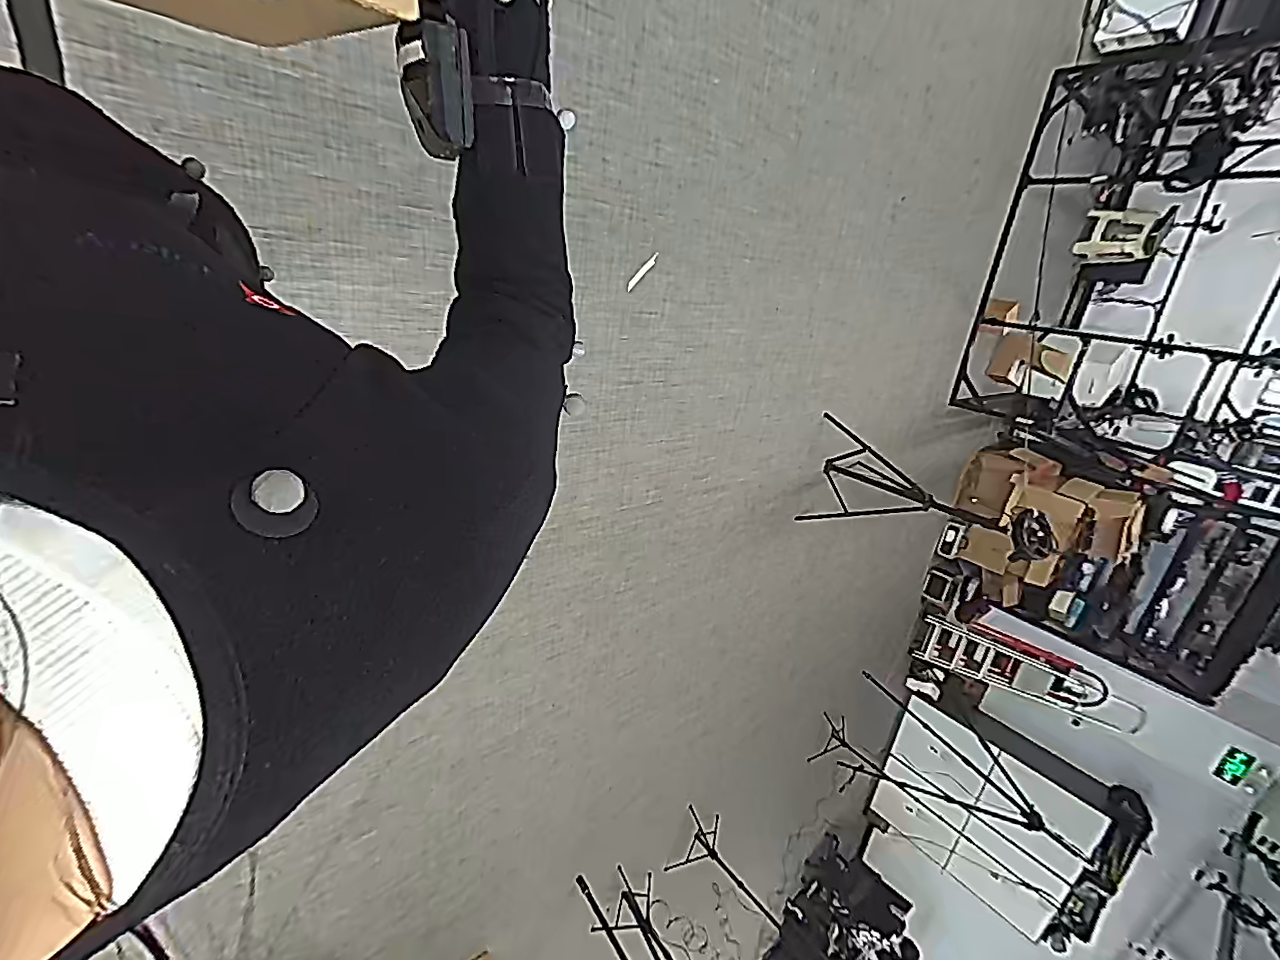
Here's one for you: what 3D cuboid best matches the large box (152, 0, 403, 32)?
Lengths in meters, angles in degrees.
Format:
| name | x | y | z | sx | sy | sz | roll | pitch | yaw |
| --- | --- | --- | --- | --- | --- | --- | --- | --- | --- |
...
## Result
| name | x | y | z | sx | sy | sz | roll | pitch | yaw |
| --- | --- | --- | --- | --- | --- | --- | --- | --- | --- |
| large box | -0.348 | -0.425 | 0.197 | 0.408 | 0.320 | 0.320 | -15 | 128 | -42 |
